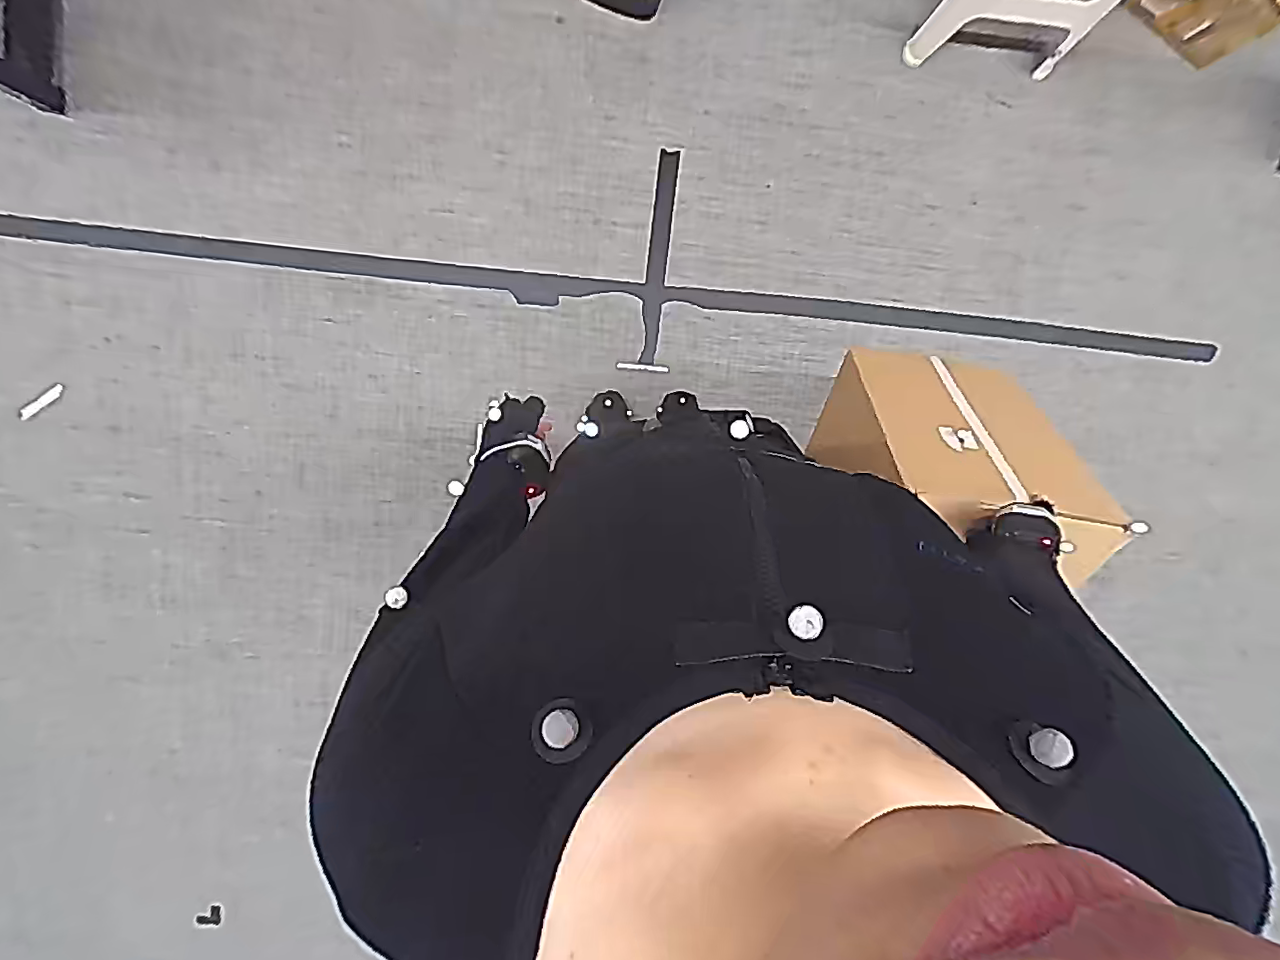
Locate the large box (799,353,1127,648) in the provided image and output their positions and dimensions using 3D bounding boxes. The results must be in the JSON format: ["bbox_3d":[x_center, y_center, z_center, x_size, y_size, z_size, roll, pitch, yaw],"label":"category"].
[{"bbox_3d":[0.507,0.028,0.971,0.320,0.408,0.320,9,133,-1],"label":"large box"}]
